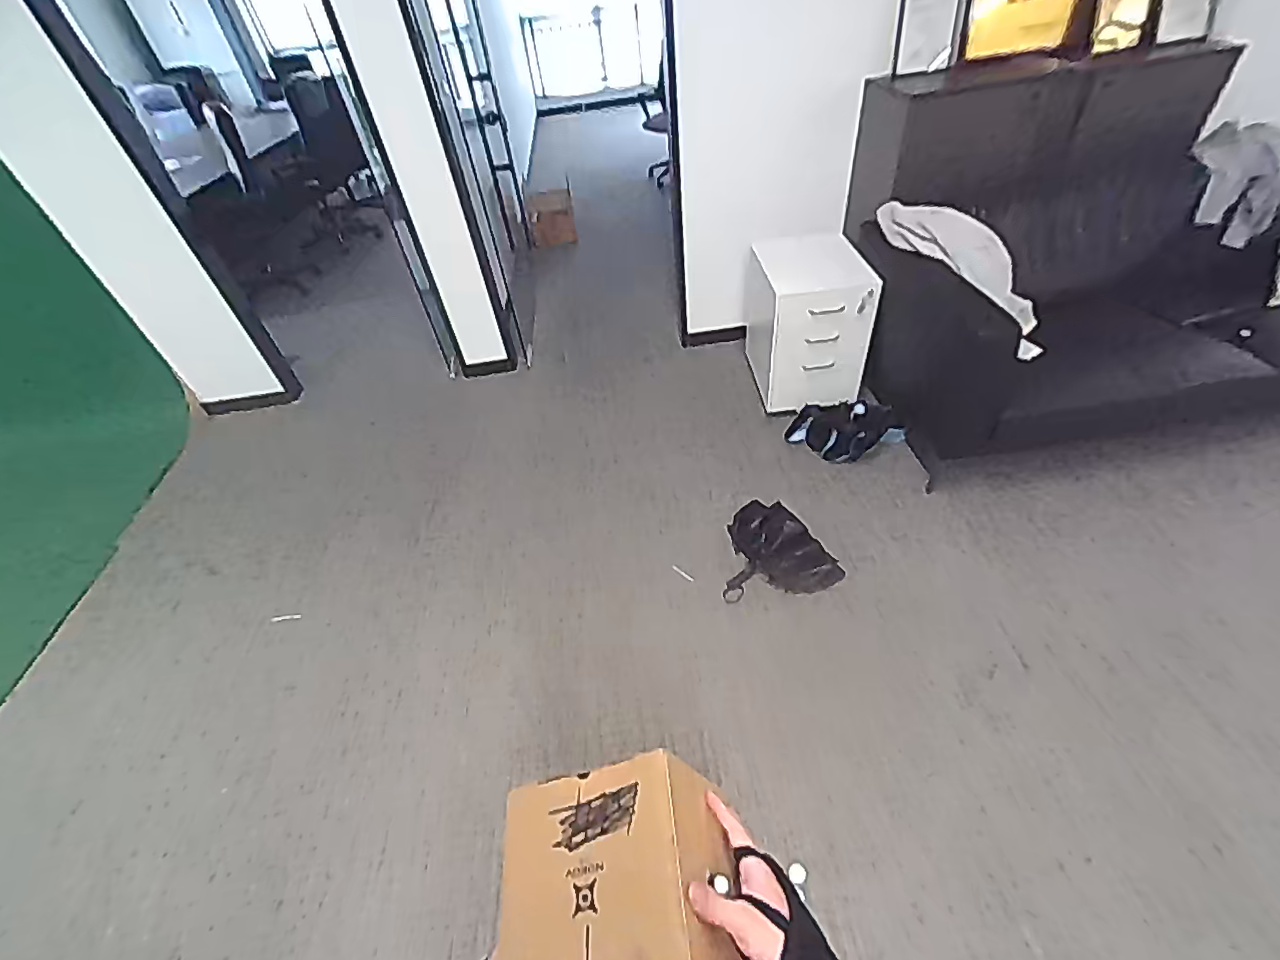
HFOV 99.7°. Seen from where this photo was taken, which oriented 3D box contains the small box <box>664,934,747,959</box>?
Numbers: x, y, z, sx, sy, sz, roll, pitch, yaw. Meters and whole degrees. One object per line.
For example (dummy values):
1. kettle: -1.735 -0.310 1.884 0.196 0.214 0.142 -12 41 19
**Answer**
1. small box: 0.129 1.037 1.077 0.168 0.176 0.179 -1 45 8
